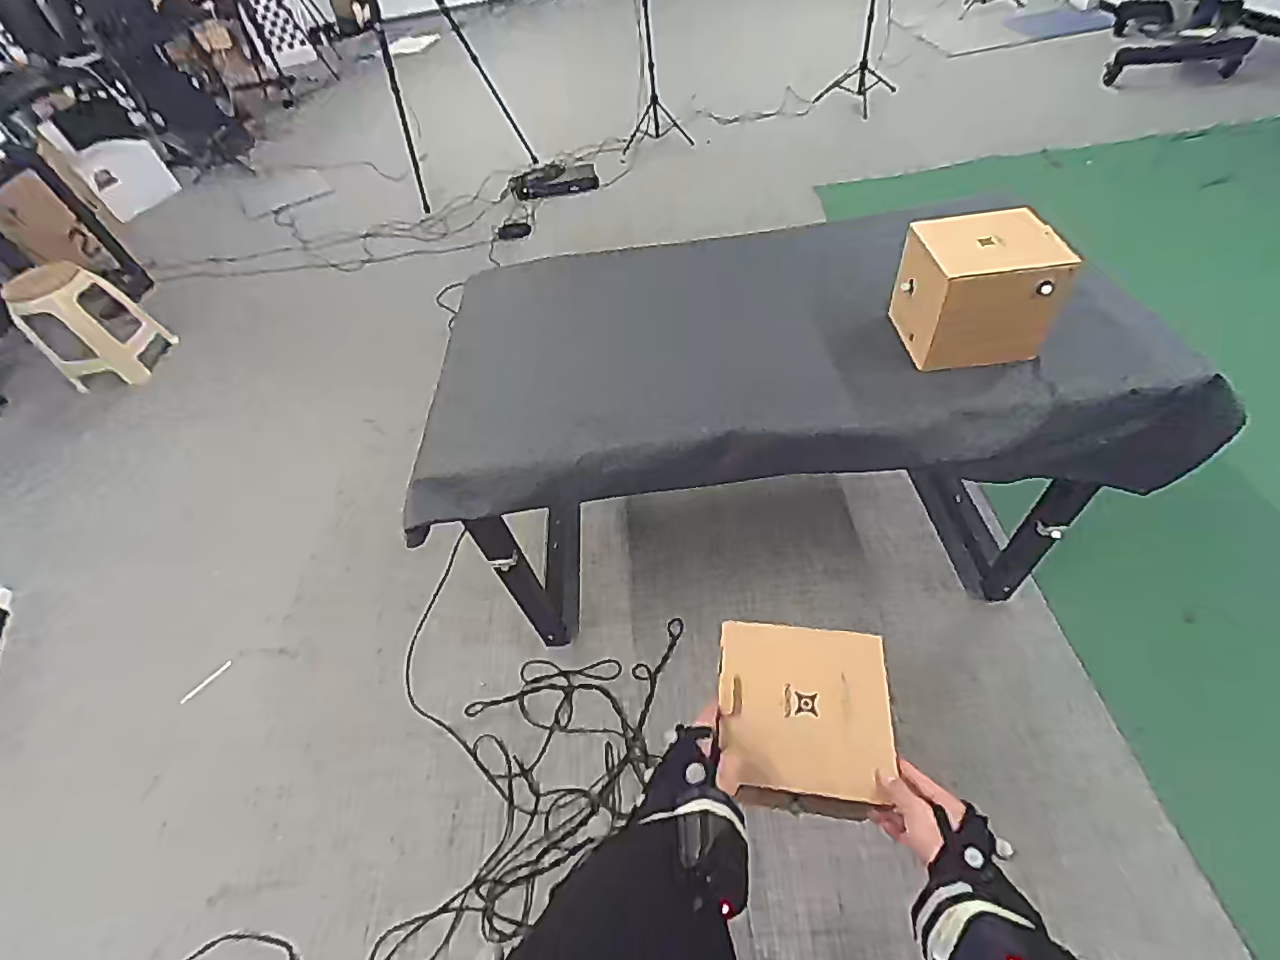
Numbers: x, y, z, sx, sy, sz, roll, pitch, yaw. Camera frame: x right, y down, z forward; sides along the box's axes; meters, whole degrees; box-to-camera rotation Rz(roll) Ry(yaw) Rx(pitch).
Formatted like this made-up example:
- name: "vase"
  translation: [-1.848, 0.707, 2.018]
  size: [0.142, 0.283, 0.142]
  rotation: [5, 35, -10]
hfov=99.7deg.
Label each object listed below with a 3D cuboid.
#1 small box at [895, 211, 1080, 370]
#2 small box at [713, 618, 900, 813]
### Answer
- name: "small box"
  translation: [0.514, -0.287, 0.840]
  size: [0.179, 0.176, 0.168]
  rotation: [-5, 50, 5]
- name: "small box"
  translation: [0.176, 0.275, 0.624]
  size: [0.179, 0.176, 0.168]
  rotation: [3, 55, 9]
